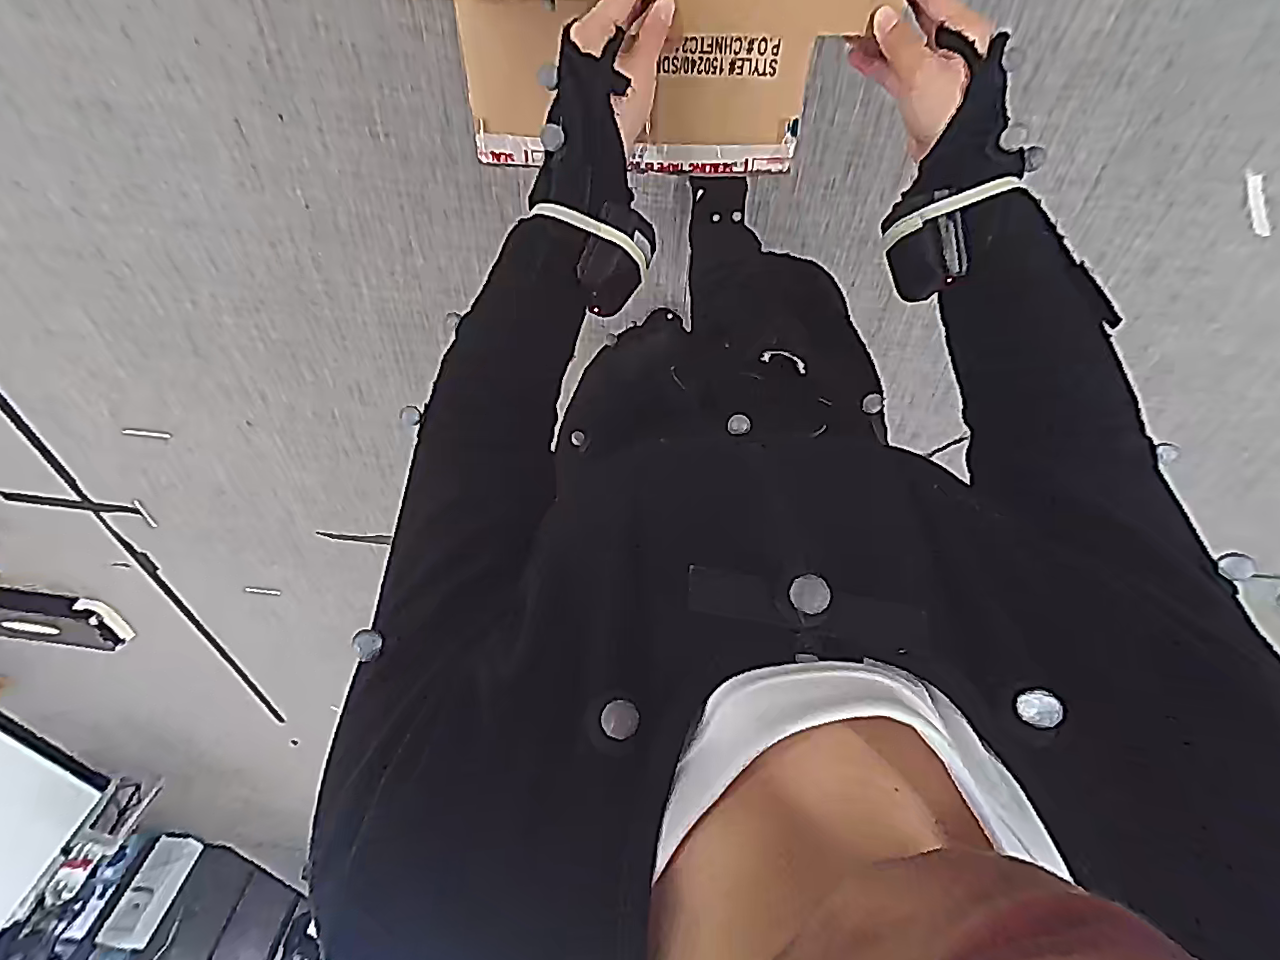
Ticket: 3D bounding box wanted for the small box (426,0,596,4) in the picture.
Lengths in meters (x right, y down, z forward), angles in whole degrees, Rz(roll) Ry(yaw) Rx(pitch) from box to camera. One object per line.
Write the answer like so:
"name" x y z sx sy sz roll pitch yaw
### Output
"small box" -0.105 -0.510 0.451 0.179 0.176 0.168 5 133 6
